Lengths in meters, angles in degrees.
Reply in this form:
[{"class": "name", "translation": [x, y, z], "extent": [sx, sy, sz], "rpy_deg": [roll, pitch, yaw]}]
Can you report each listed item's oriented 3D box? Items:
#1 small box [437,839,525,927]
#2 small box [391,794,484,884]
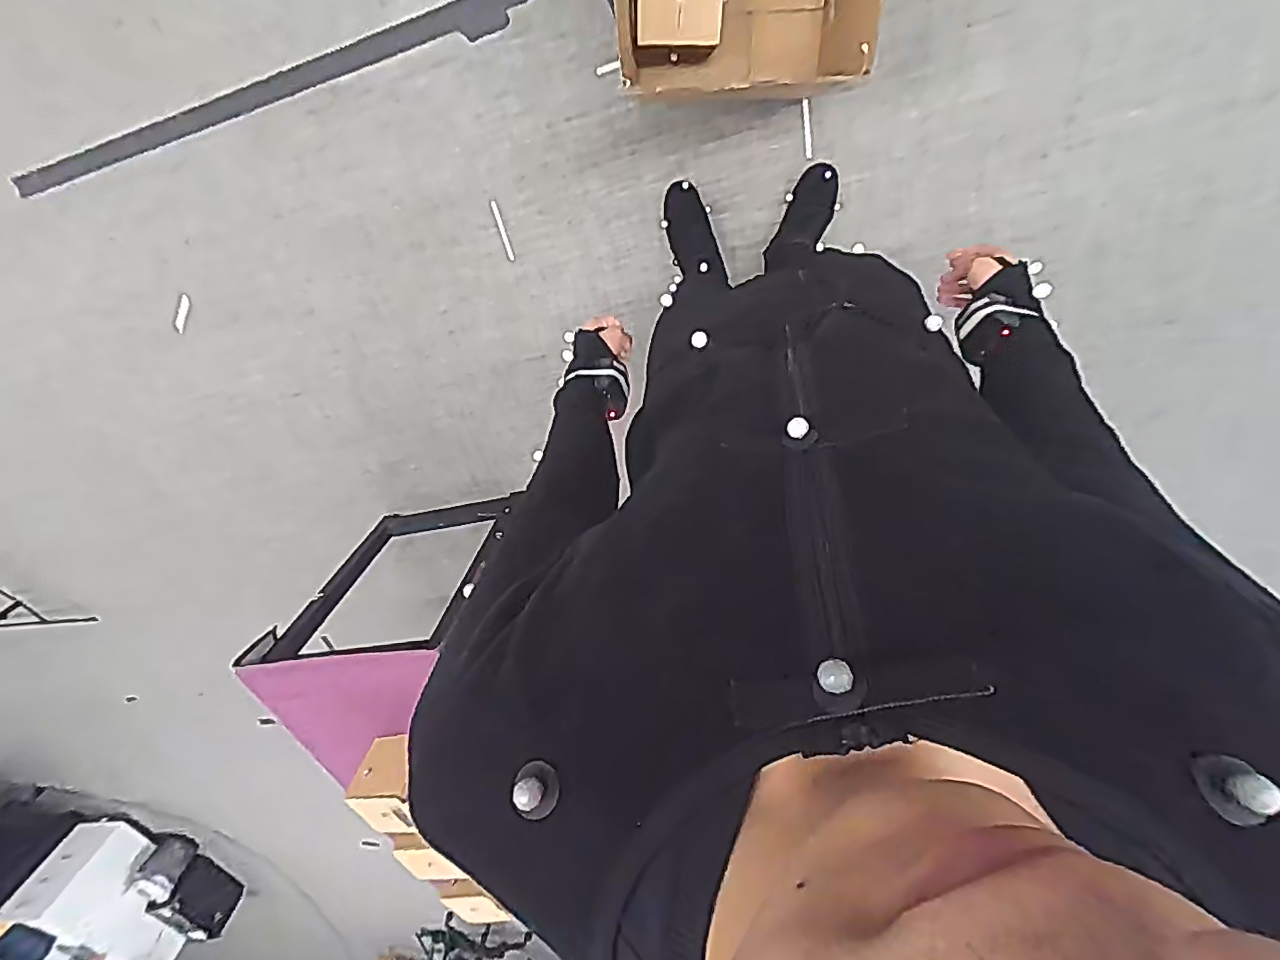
[{"class": "small box", "translation": [-0.490, 1.260, 1.694], "extent": [0.179, 0.176, 0.168], "rpy_deg": [-18, 118, 17]}, {"class": "small box", "translation": [-0.574, 1.036, 1.568], "extent": [0.179, 0.176, 0.168], "rpy_deg": [-12, 119, 14]}]
